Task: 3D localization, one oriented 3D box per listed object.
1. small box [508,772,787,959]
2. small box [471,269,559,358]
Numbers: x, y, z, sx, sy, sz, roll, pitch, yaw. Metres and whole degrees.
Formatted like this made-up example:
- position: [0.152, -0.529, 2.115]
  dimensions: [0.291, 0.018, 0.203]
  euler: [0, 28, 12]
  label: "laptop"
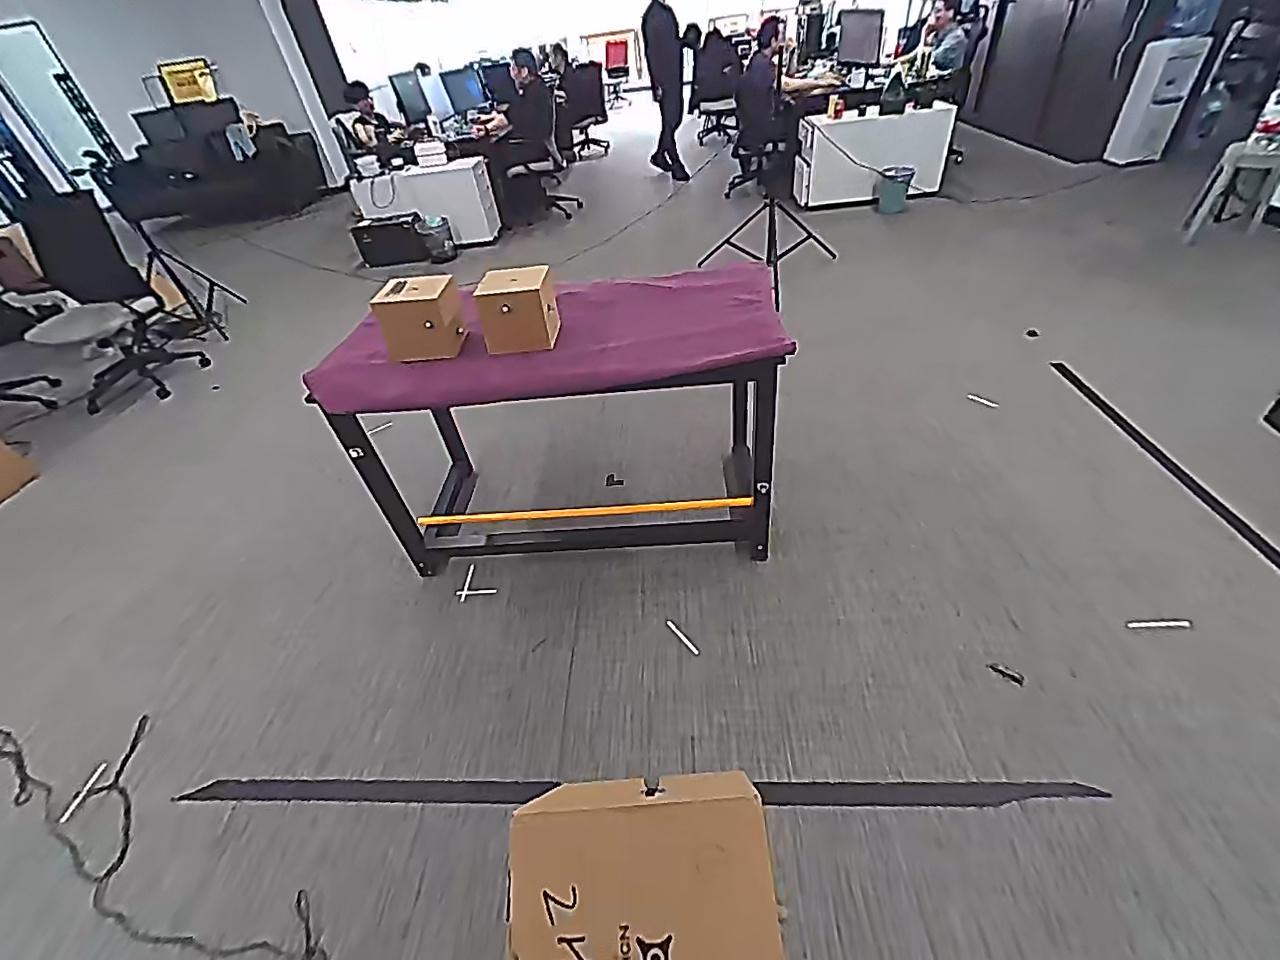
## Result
- position: [0.010, 0.324, 0.407]
  dimensions: [0.179, 0.176, 0.168]
  euler: [-7, 66, 4]
  label: "small box"
- position: [-0.326, -0.445, 1.453]
  dimensions: [0.179, 0.176, 0.168]
  euler: [-5, 41, 6]
  label: "small box"
